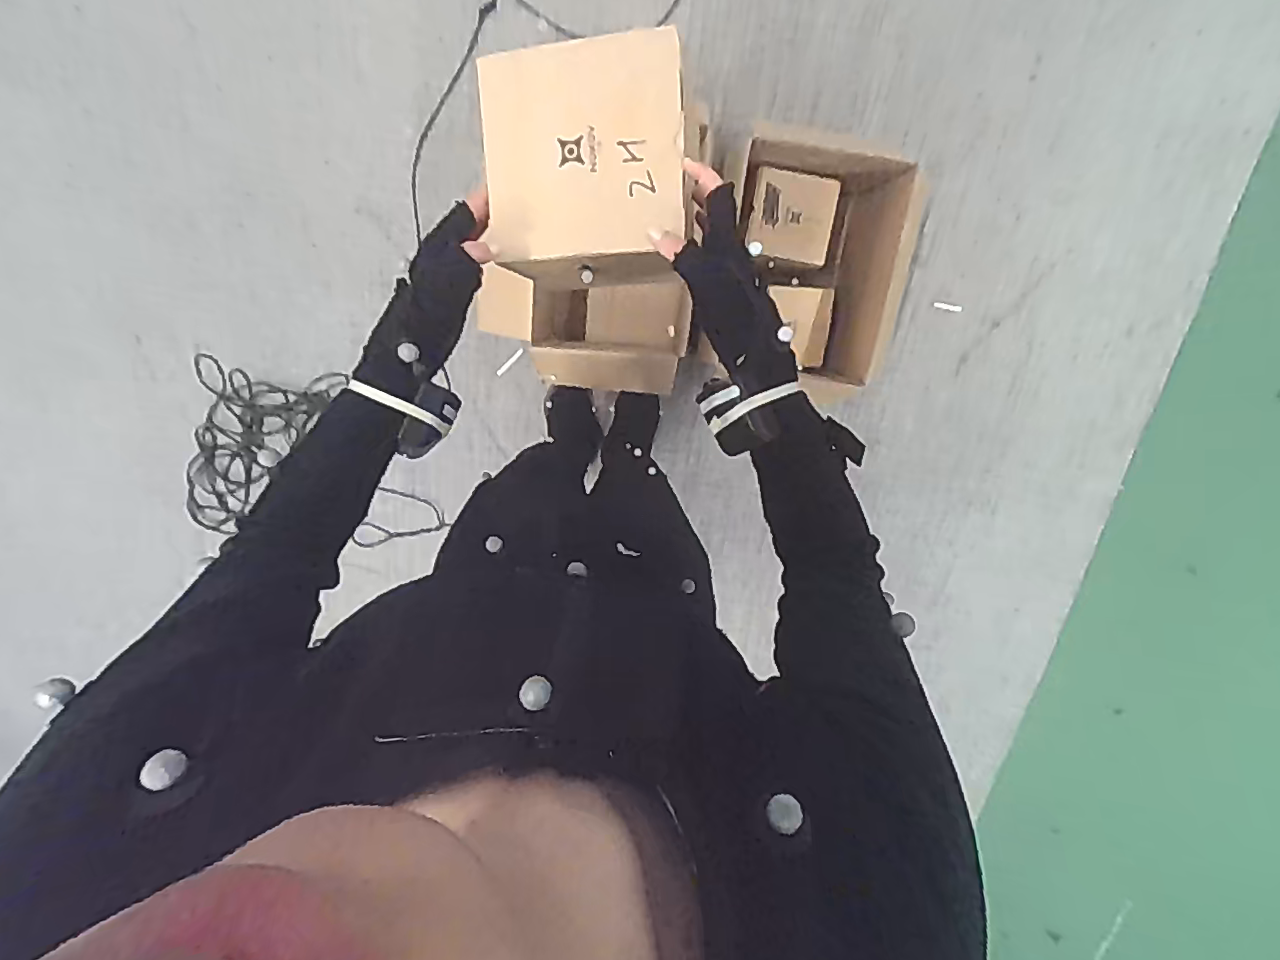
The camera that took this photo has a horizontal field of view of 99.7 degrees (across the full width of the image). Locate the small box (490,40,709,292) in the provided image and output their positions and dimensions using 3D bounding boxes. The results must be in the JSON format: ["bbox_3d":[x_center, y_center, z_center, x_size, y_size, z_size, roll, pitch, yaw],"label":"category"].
[{"bbox_3d":[-0.026,-0.287,0.540,0.179,0.176,0.168,-1,102,11],"label":"small box"}]
